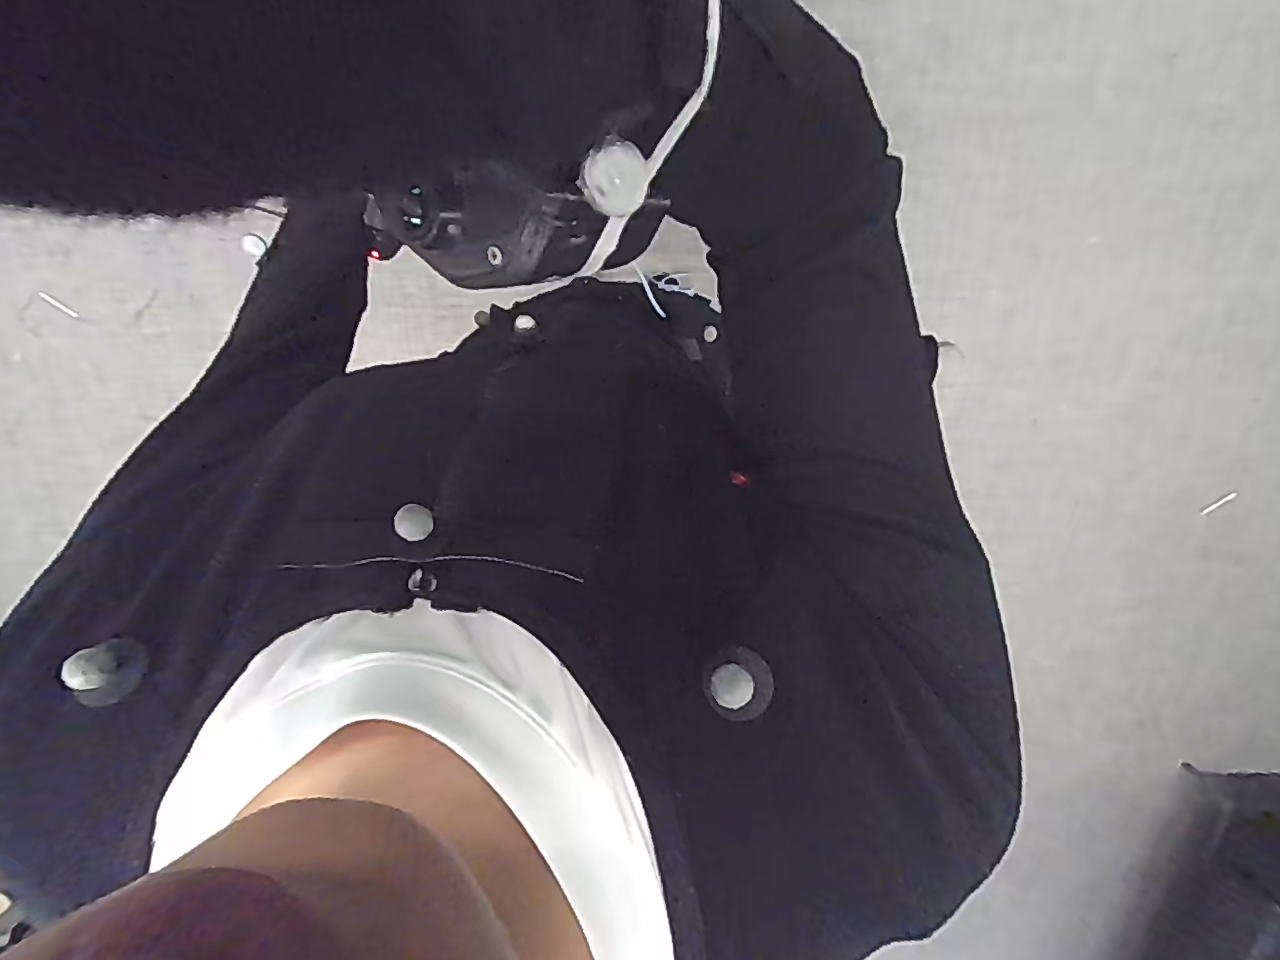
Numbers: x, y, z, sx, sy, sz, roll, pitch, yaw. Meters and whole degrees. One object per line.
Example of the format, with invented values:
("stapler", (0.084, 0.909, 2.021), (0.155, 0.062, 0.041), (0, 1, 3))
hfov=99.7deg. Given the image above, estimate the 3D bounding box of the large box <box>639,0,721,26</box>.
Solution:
("large box", (-0.013, -0.981, 0.808), (0.408, 0.320, 0.320), (18, 111, -5))
